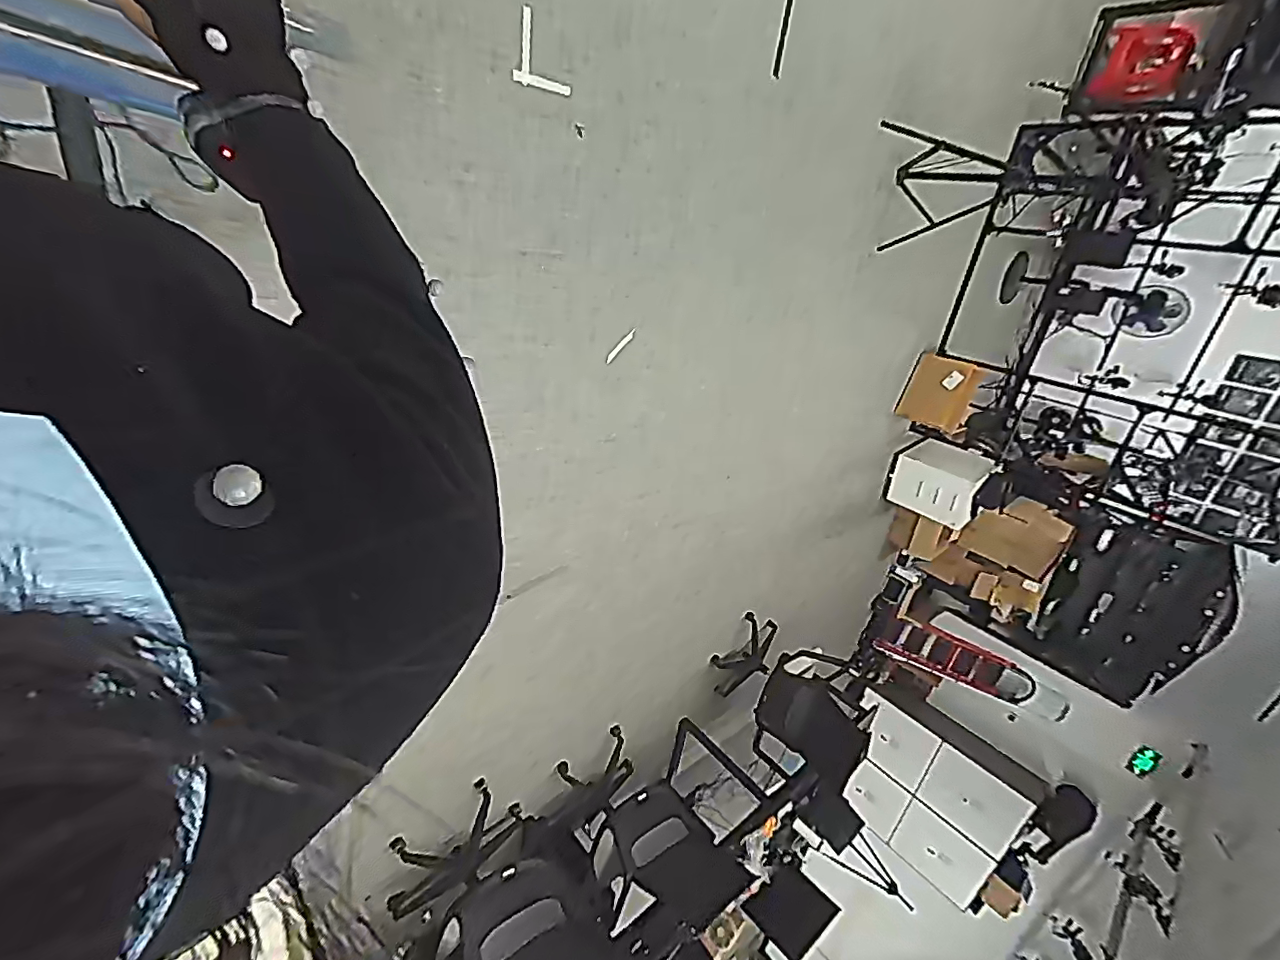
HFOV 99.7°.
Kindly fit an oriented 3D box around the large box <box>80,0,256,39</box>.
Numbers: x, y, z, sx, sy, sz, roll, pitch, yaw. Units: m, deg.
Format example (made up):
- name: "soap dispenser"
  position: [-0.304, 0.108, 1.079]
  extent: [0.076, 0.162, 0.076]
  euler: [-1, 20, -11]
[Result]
- name: "large box"
  position: [-0.725, -0.777, 0.614]
  extent: [0.408, 0.320, 0.320]
  euler: [-12, 122, -43]
